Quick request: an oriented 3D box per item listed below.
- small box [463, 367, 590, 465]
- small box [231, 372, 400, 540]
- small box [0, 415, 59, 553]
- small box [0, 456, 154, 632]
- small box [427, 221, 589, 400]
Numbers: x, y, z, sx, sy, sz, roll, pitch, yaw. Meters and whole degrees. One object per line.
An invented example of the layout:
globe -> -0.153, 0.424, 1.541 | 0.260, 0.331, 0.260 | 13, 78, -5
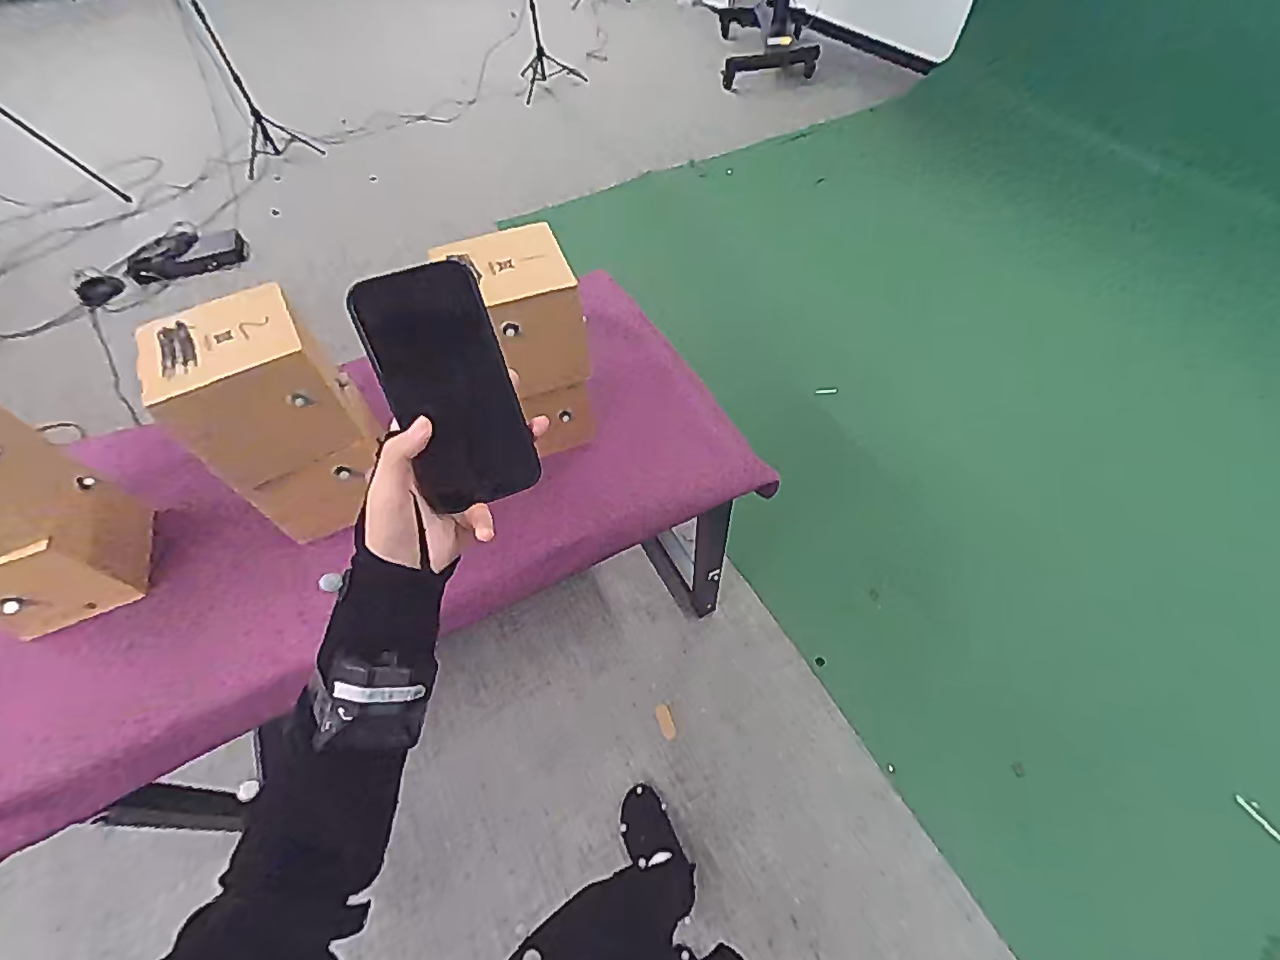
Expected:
small box -> -0.191, -0.154, 0.925 | 0.179, 0.176, 0.168 | -18, 55, -8
small box -> -0.503, -0.034, 0.859 | 0.179, 0.176, 0.168 | -23, 56, -12
small box -> -0.876, 0.001, 0.659 | 0.168, 0.176, 0.179 | -27, 58, -15
small box -> -0.863, 0.102, 0.789 | 0.168, 0.176, 0.179 | -23, 56, -12
small box -> -0.186, -0.240, 0.786 | 0.179, 0.176, 0.168 | -18, 55, -9
